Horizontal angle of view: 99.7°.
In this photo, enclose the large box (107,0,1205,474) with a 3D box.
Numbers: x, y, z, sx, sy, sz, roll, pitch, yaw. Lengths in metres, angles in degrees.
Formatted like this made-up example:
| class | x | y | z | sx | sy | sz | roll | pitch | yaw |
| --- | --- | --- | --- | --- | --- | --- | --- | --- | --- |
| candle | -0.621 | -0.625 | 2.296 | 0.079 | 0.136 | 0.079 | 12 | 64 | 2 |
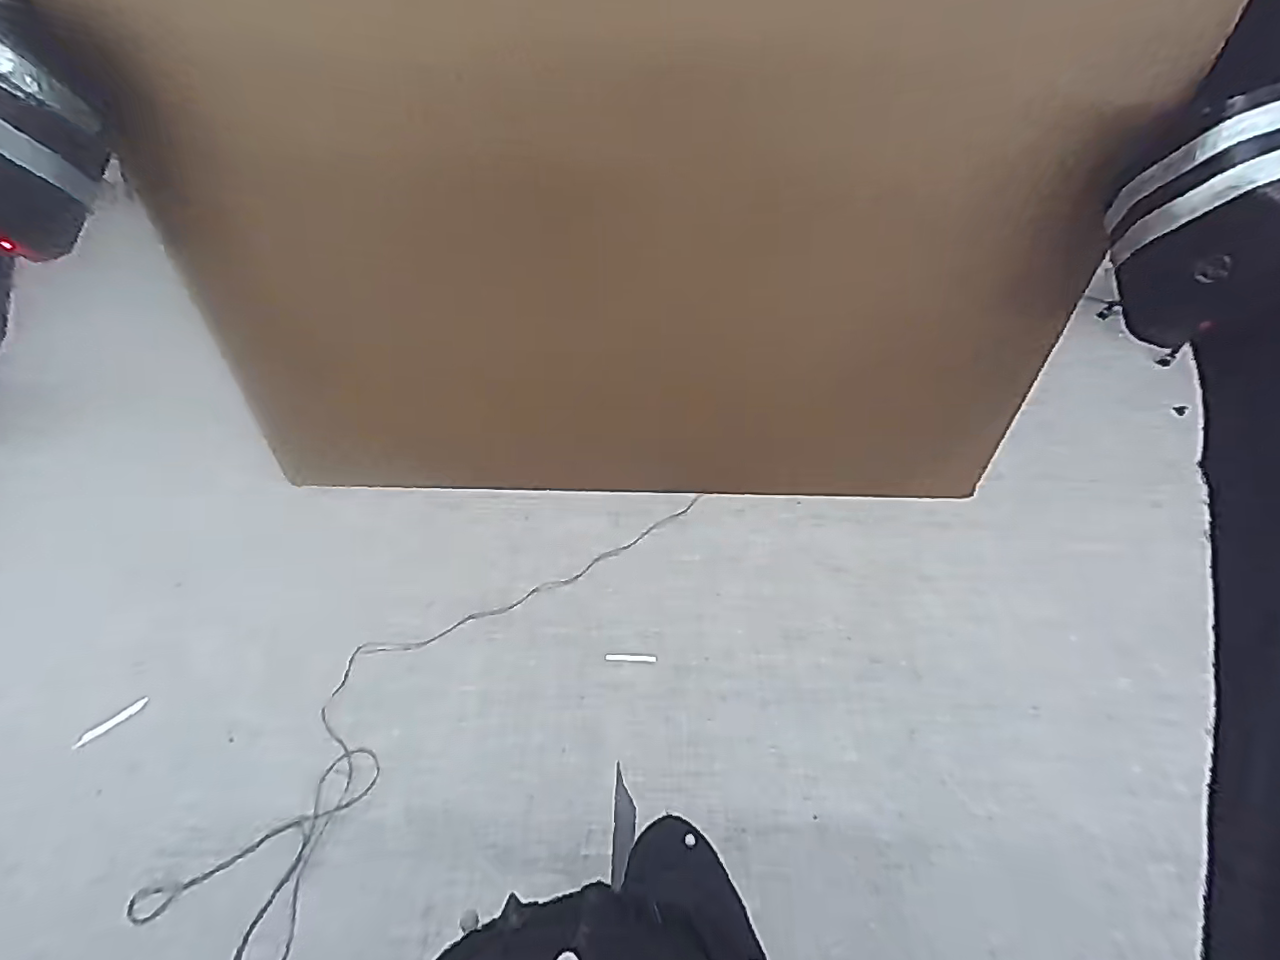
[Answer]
| class | x | y | z | sx | sy | sz | roll | pitch | yaw |
| --- | --- | --- | --- | --- | --- | --- | --- | --- | --- |
| large box | 0.002 | -0.215 | 0.345 | 0.408 | 0.320 | 0.320 | 2 | 40 | -1 |
